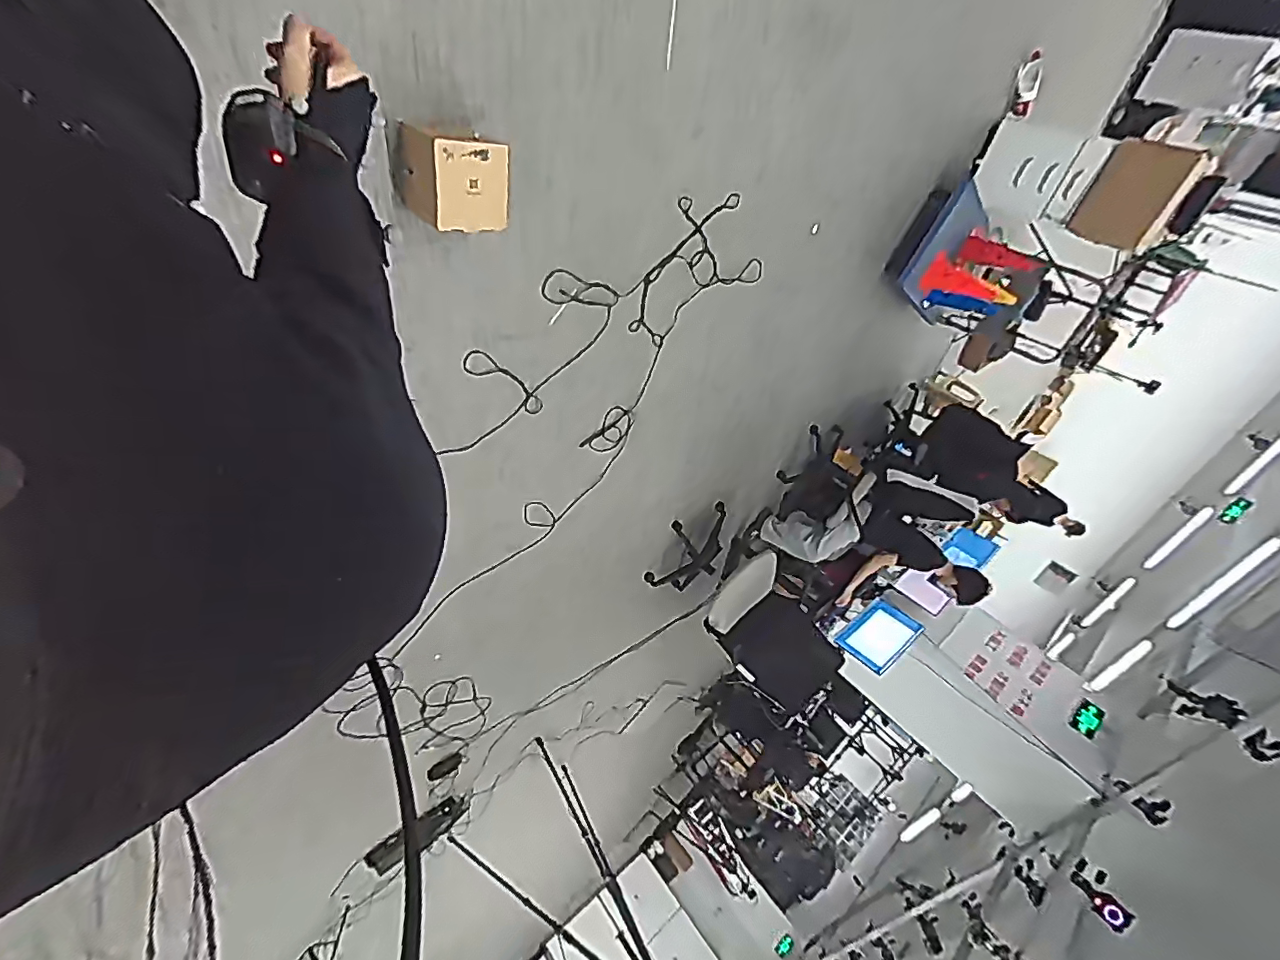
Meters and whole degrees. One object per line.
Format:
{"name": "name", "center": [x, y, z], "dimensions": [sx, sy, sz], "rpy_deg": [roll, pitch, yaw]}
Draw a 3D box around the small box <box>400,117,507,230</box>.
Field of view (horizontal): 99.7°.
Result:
{"name": "small box", "center": [-0.413, -0.671, 1.191], "dimensions": [0.168, 0.176, 0.179], "rpy_deg": [-21, 140, -38]}
